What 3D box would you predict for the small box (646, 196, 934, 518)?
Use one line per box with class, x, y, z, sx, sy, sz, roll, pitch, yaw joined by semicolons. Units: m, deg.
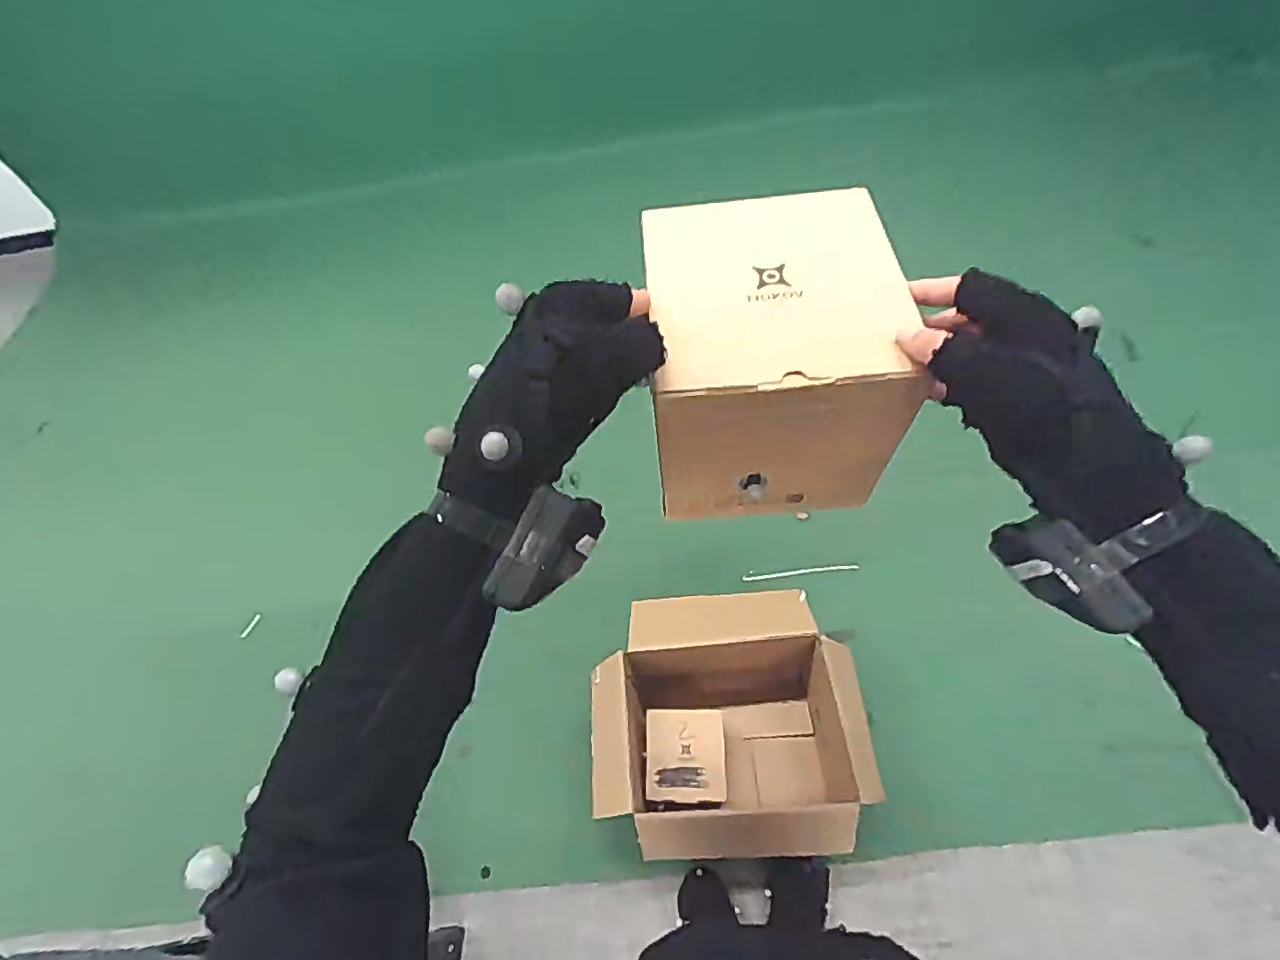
small box;0.089;-0.086;0.419;0.168;0.176;0.179;-3;60;3
